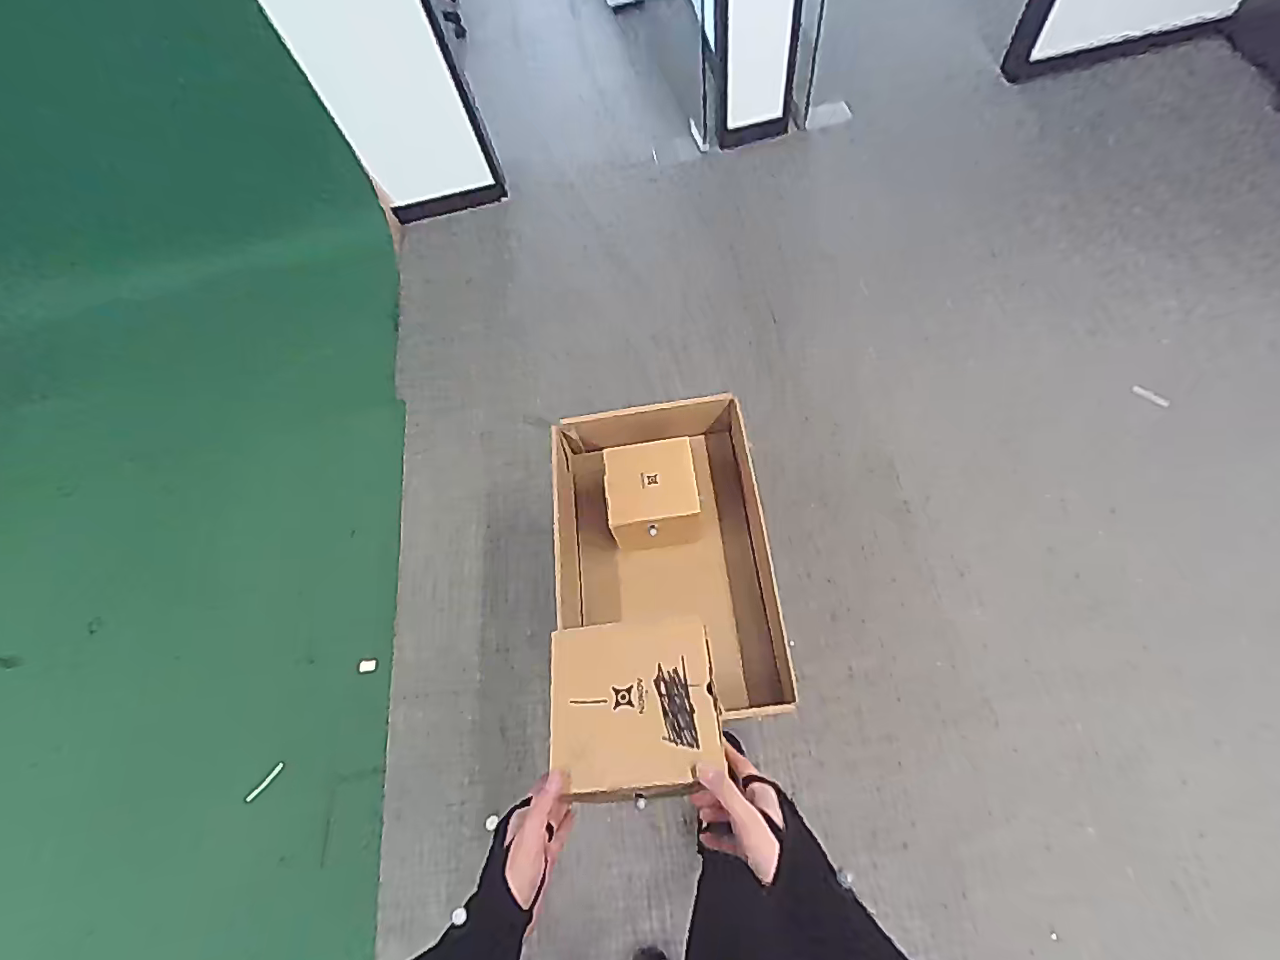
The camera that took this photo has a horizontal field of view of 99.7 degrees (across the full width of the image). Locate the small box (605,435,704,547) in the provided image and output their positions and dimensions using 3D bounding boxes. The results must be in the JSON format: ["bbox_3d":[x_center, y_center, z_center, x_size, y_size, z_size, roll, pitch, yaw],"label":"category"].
[{"bbox_3d":[0.033,0.029,1.099,0.179,0.176,0.168,-9,65,5],"label":"small box"}]

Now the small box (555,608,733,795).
[{"bbox_3d":[0.009,0.263,0.629,0.179,0.176,0.168,-8,56,5],"label":"small box"}]
